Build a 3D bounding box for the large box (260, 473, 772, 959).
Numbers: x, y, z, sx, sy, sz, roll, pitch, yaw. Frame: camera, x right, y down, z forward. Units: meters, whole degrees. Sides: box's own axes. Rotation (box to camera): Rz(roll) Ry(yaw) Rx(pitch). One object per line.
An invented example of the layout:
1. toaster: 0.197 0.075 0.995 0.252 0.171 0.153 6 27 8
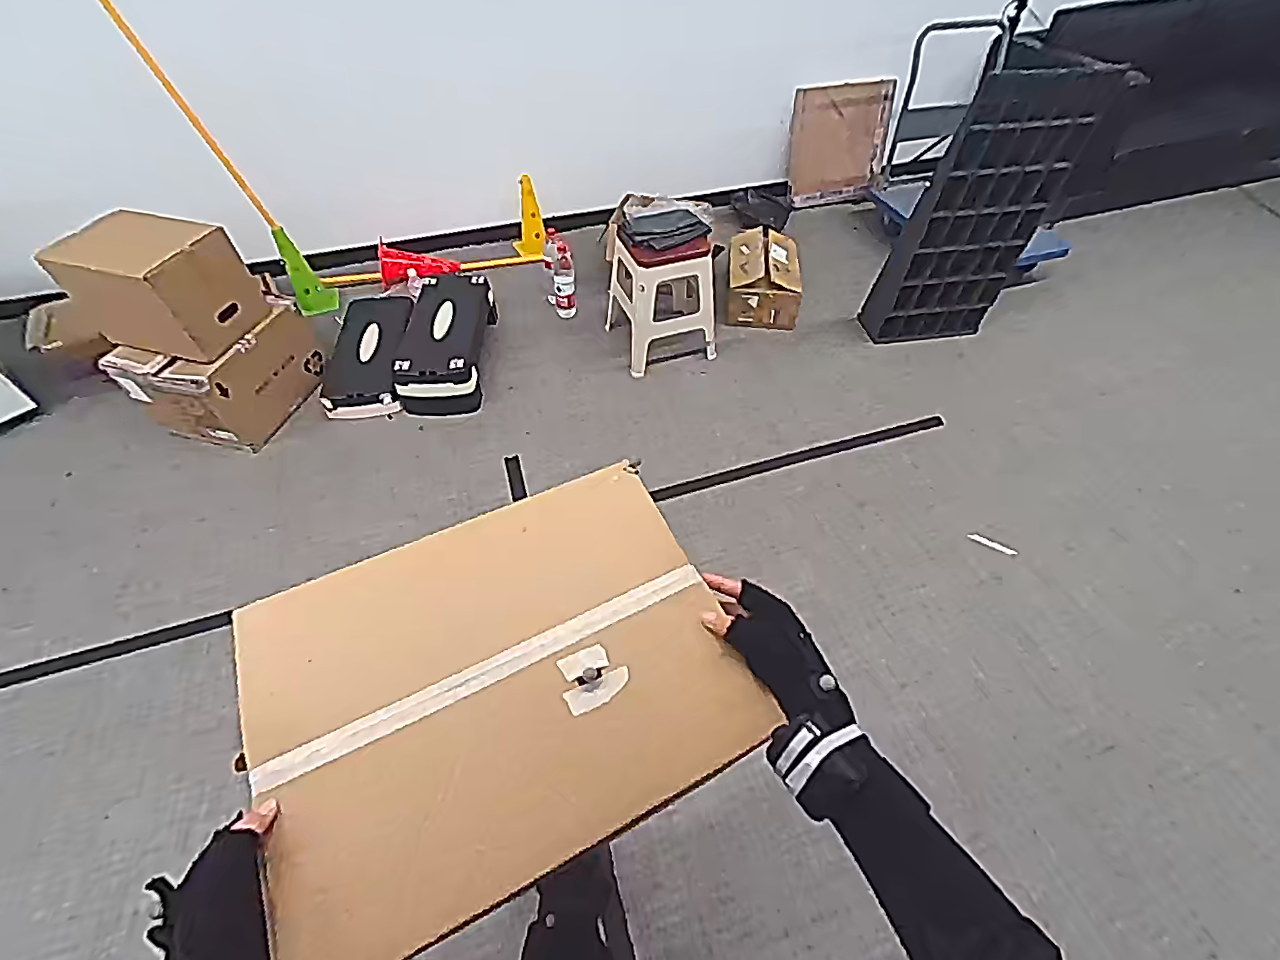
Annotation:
1. large box: -0.128 0.260 0.624 0.408 0.320 0.320 -22 60 -17
